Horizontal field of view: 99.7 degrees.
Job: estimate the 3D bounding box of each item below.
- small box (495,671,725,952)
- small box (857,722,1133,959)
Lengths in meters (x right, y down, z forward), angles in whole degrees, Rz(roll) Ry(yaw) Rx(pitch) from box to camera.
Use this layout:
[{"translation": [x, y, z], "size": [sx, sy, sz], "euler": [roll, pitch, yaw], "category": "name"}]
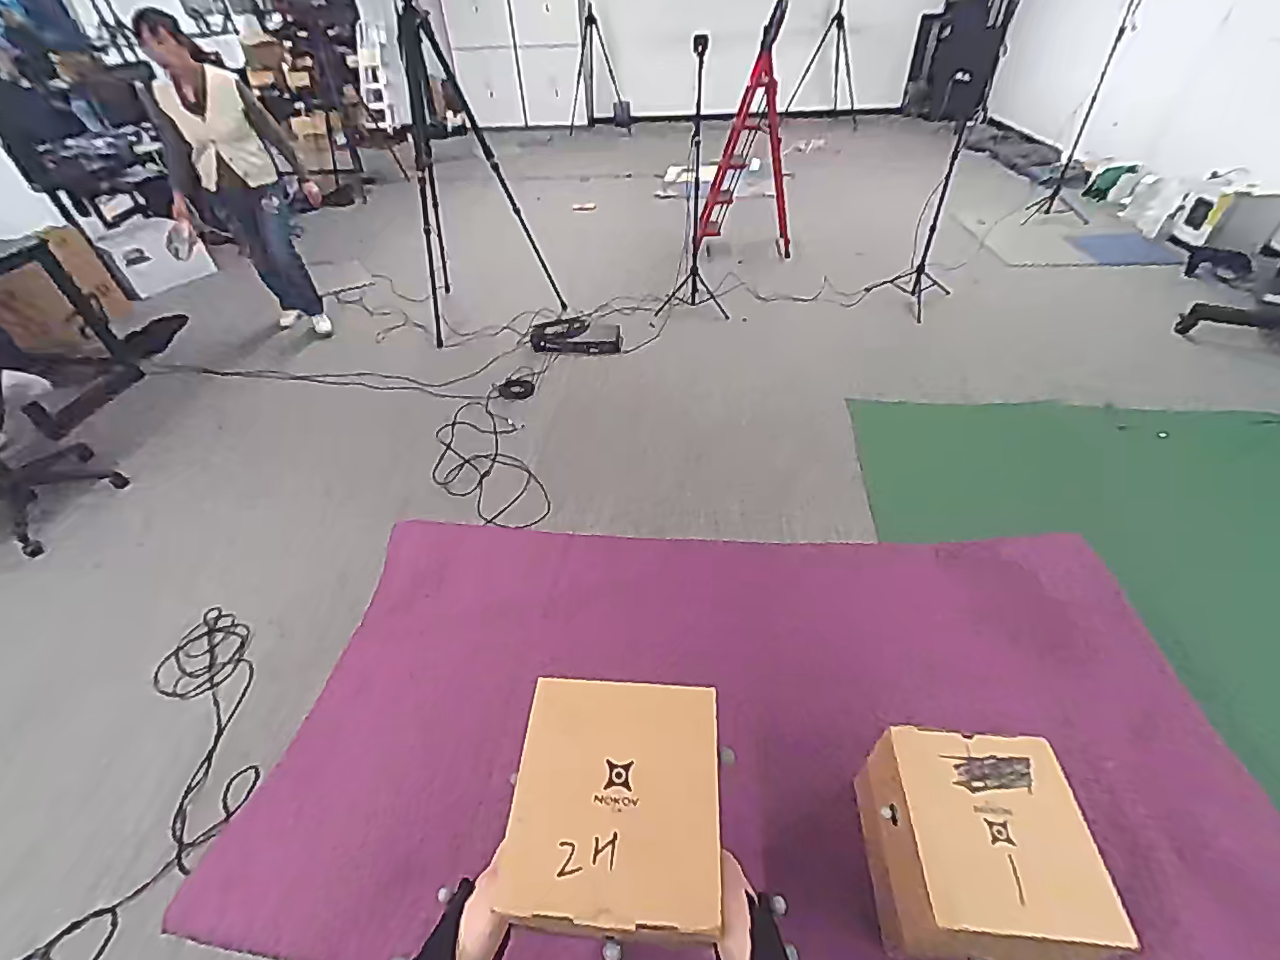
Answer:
[{"translation": [-0.014, 0.298, 0.490], "size": [0.168, 0.176, 0.179], "euler": [2, 45, 4], "category": "small box"}, {"translation": [0.347, 0.388, 0.578], "size": [0.168, 0.176, 0.179], "euler": [2, 43, 5], "category": "small box"}]
